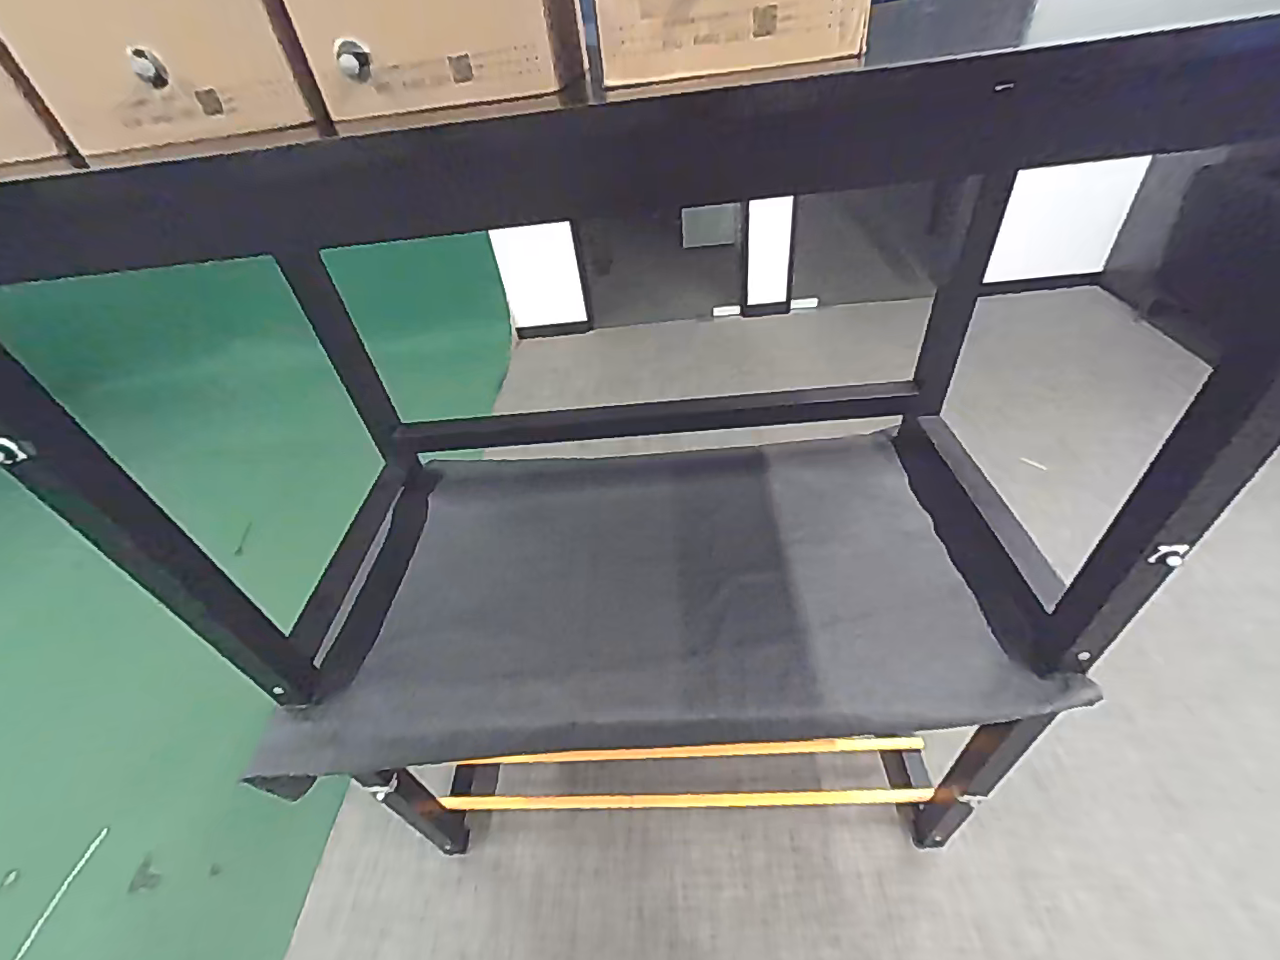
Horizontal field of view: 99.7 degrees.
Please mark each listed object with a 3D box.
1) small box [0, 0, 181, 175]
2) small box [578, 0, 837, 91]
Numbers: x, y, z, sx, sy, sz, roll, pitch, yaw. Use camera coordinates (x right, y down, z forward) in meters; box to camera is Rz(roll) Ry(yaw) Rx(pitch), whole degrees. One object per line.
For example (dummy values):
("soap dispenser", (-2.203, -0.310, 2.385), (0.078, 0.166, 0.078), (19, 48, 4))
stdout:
("small box", (-0.530, -0.348, 0.429), (0.168, 0.176, 0.179), (-7, 40, -1))
("small box", (0.041, -0.384, 0.374), (0.168, 0.176, 0.179), (-4, 41, 5))
